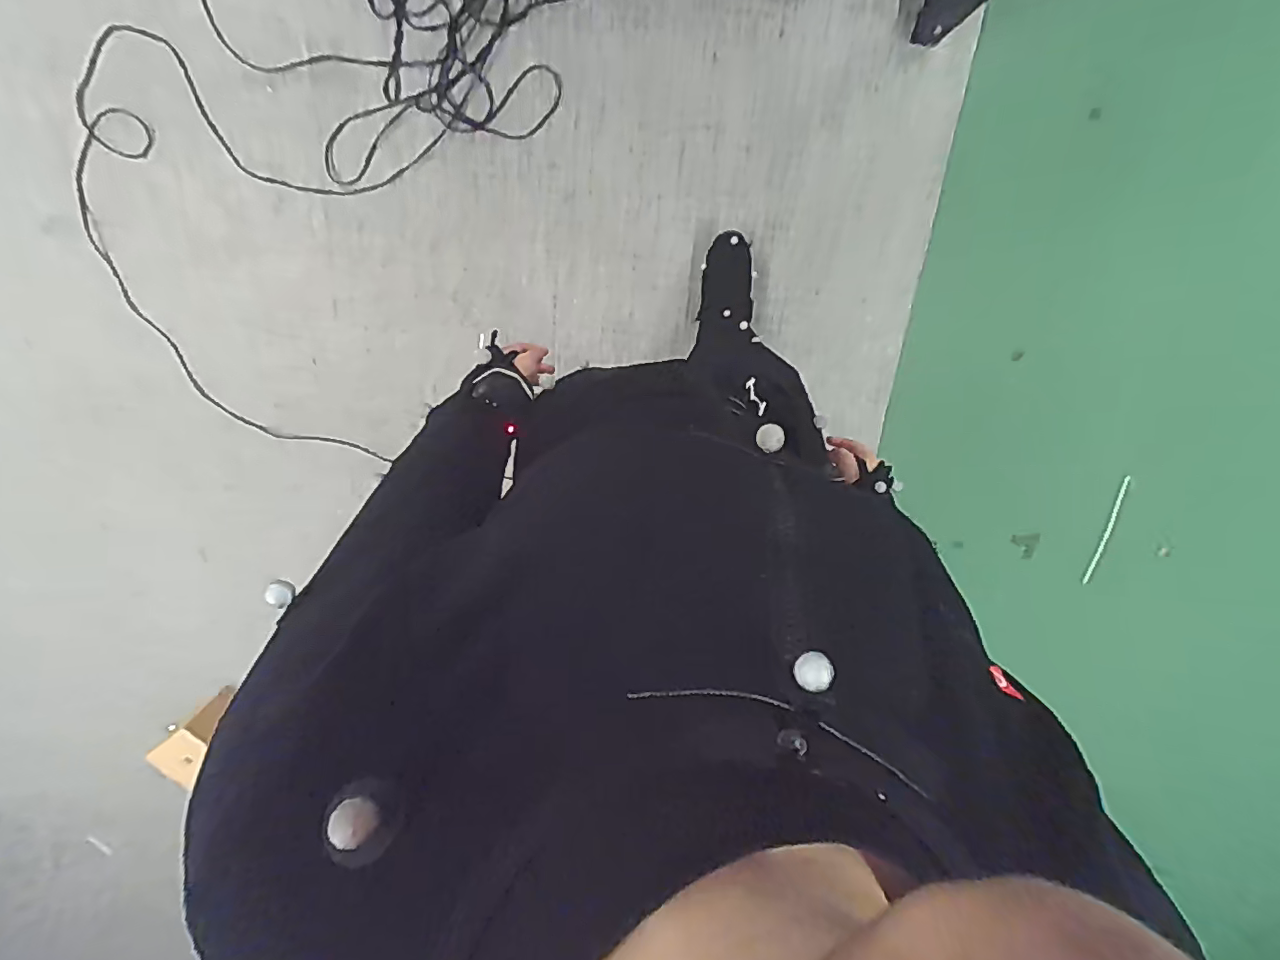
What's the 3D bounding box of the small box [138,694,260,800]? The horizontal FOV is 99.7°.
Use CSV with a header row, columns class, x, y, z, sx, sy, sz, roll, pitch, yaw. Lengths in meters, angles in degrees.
class,x,y,z,sx,sy,sz,roll,pitch,yaw
small box,-1.242,0.755,1.539,0.179,0.176,0.168,-37,106,11
